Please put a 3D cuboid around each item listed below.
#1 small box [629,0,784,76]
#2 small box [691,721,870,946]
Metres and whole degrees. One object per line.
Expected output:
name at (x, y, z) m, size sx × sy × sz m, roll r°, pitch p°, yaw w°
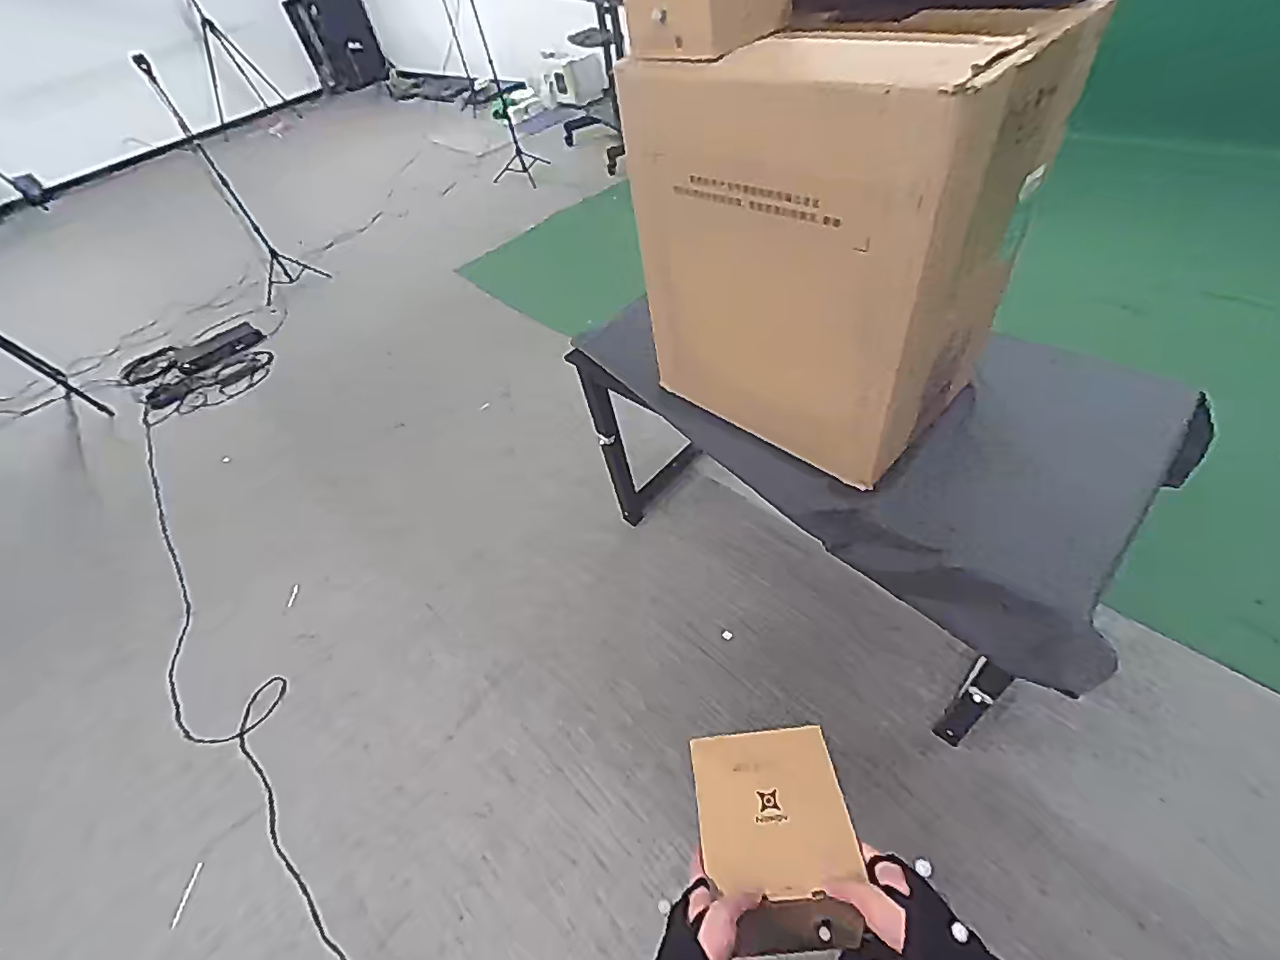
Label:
small box at (0.091, -0.701, 0.764) m, size 0.179 × 0.176 × 0.168 m, roll -40°, pitch 51°, yaw -22°
small box at (0.161, 0.429, 0.655) m, size 0.168 × 0.176 × 0.179 m, roll -8°, pitch 31°, yaw 2°
